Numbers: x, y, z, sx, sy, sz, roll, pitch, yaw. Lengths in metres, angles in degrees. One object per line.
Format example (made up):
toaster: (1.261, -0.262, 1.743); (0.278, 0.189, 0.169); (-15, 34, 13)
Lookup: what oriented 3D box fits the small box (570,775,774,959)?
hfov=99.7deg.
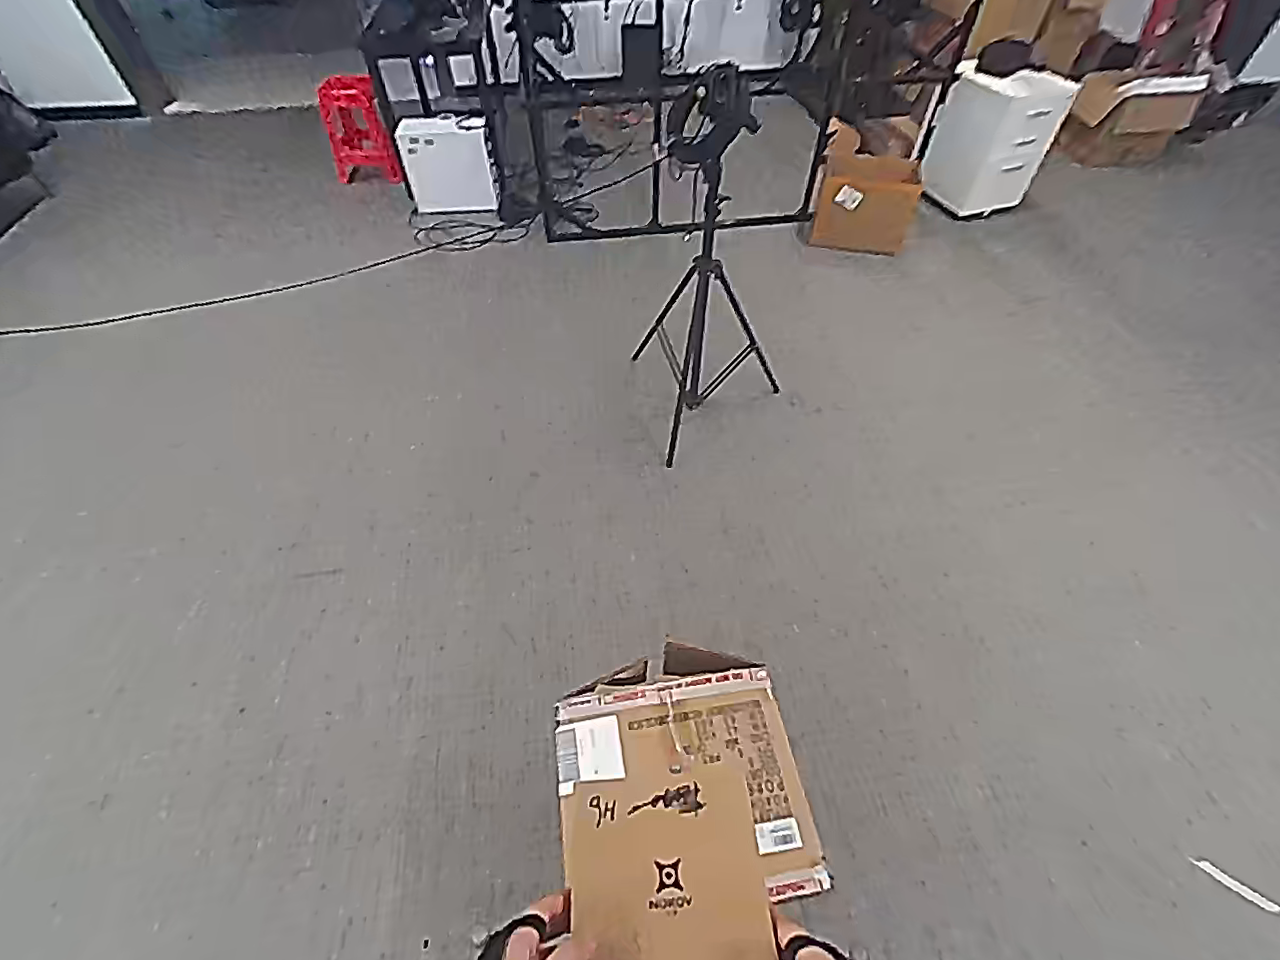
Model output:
small box: (0.024, 0.403, 0.518); (0.168, 0.176, 0.179); (-3, 49, -3)
